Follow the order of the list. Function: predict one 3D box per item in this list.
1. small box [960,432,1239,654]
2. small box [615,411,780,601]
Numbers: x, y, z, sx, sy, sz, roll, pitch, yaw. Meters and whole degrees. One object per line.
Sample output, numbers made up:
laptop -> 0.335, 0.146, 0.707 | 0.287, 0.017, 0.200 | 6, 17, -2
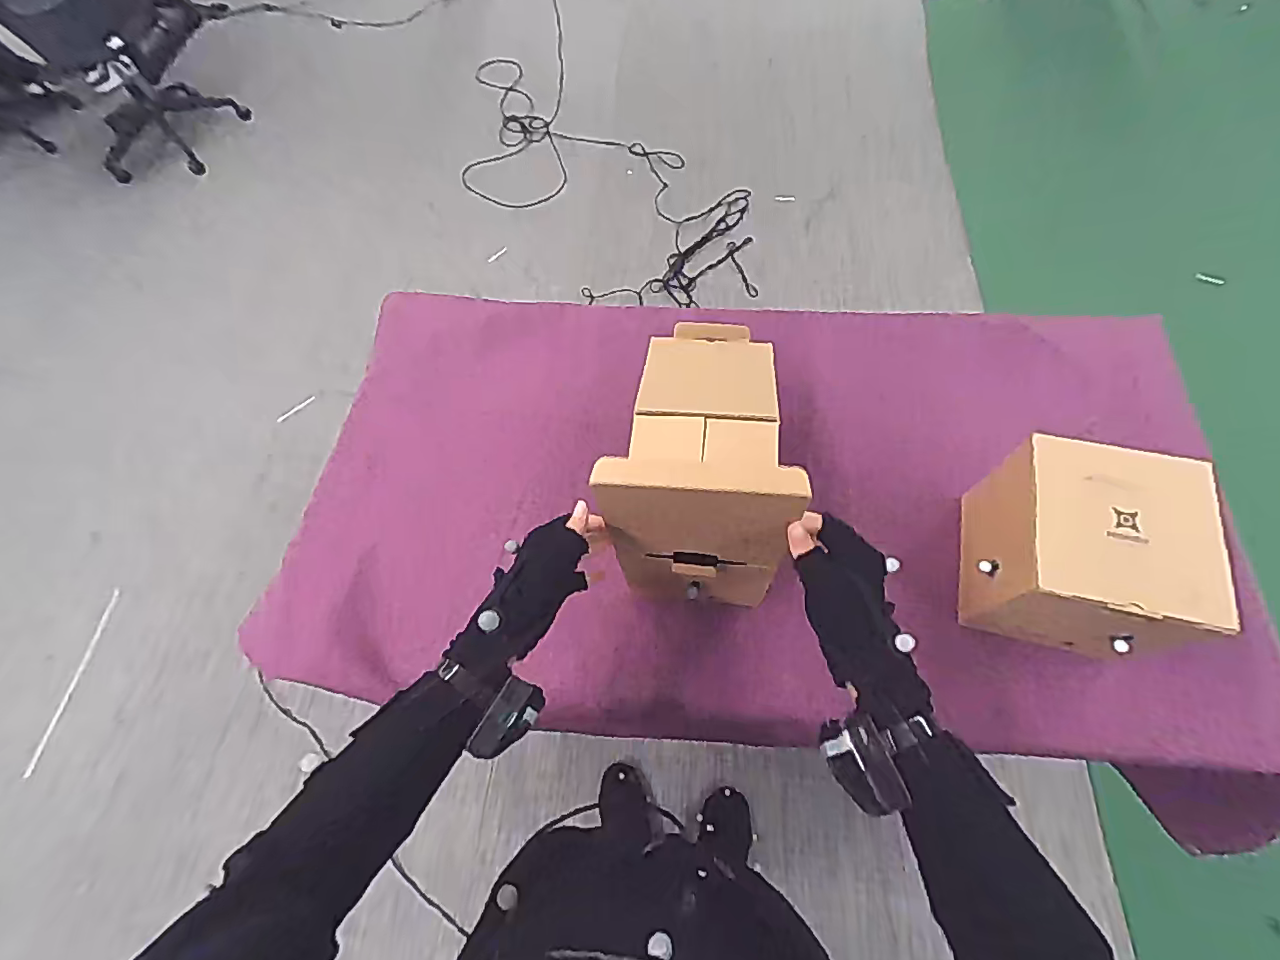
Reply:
small box -> 0.473, 0.076, 0.590 | 0.168, 0.176, 0.179 | 12, 66, 11
small box -> 0.072, 0.038, 0.647 | 0.168, 0.176, 0.179 | 4, 65, 7
